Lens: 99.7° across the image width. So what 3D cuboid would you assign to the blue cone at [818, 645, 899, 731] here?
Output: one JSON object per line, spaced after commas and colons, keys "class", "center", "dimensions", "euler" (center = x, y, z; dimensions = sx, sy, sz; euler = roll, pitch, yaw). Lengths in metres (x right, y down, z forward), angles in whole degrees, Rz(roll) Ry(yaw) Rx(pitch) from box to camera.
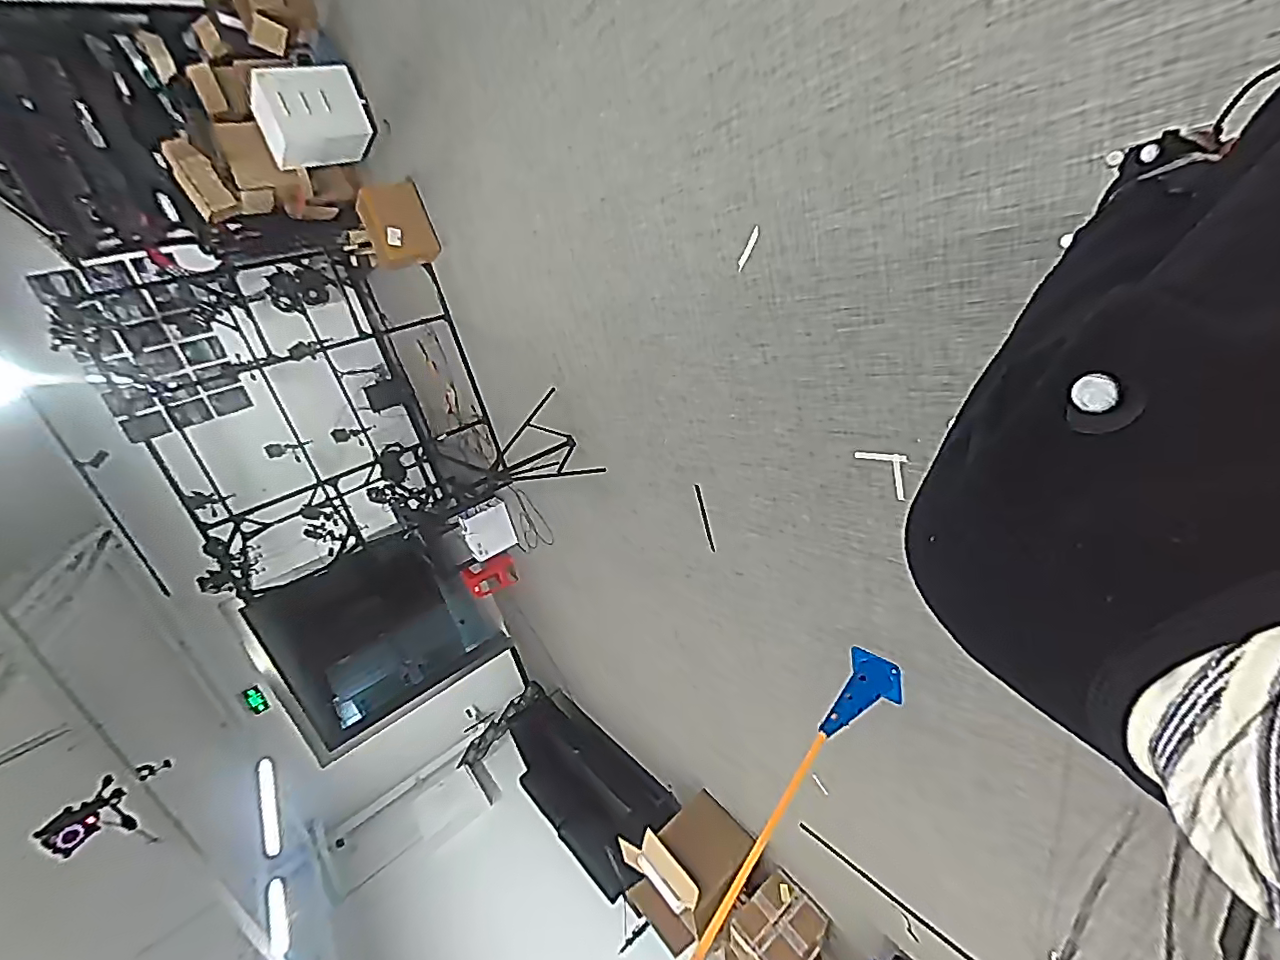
{"class": "blue cone", "center": [0.795, 0.815, 2.028], "dimensions": [0.193, 0.380, 0.192], "euler": [19, 129, 50]}
